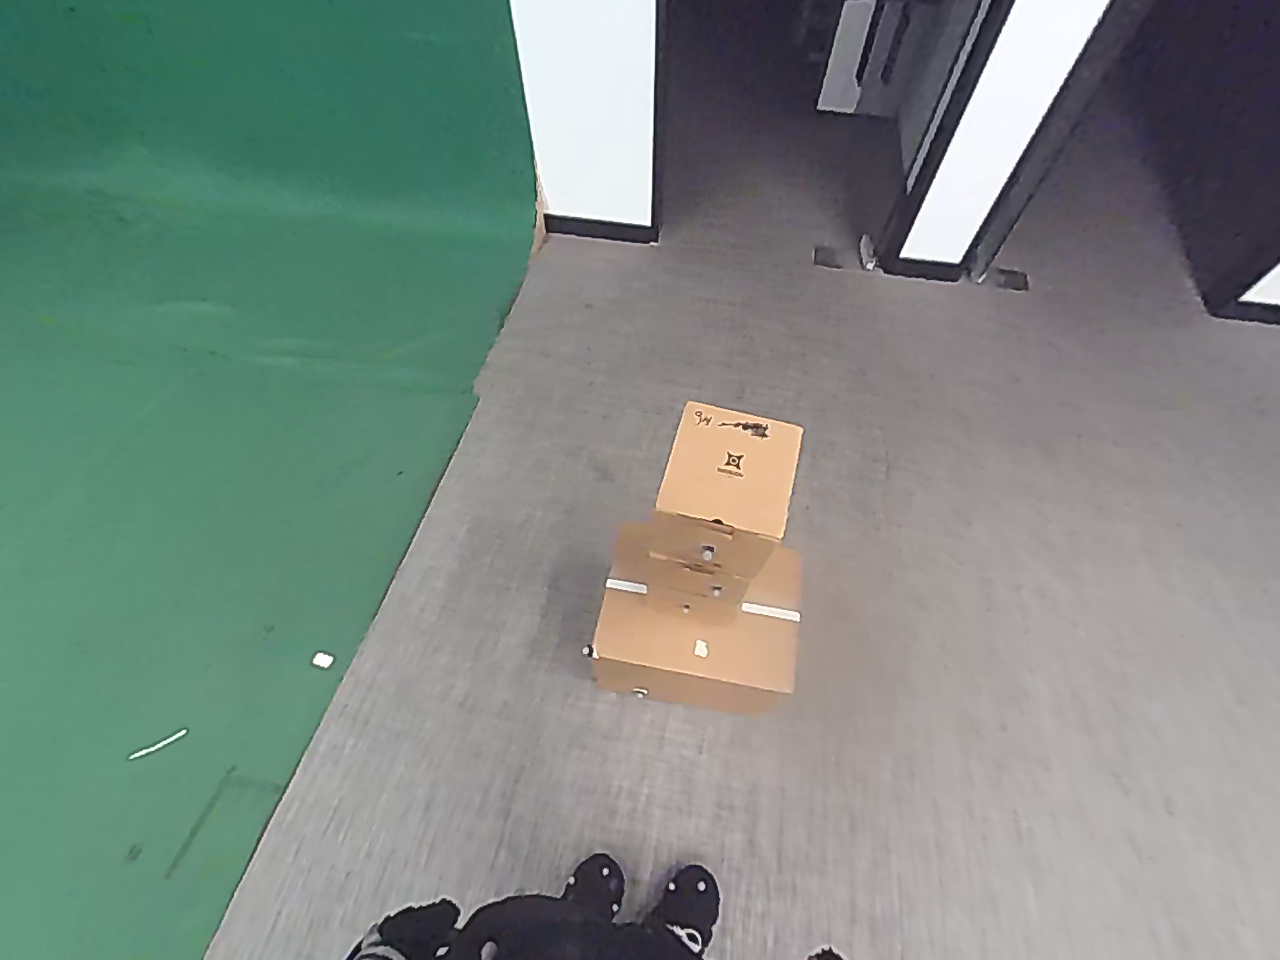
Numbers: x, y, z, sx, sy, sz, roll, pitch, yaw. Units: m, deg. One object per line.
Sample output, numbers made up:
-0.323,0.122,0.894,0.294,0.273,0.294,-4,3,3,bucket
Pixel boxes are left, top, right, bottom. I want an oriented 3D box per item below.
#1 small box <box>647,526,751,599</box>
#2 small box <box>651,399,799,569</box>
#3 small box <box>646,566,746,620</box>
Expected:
0.112,0.090,0.936,0.168,0.176,0.179,13,63,6,small box
0.119,0.014,0.792,0.168,0.176,0.179,15,65,7,small box
0.118,0.166,1.076,0.179,0.176,0.168,16,63,9,small box
